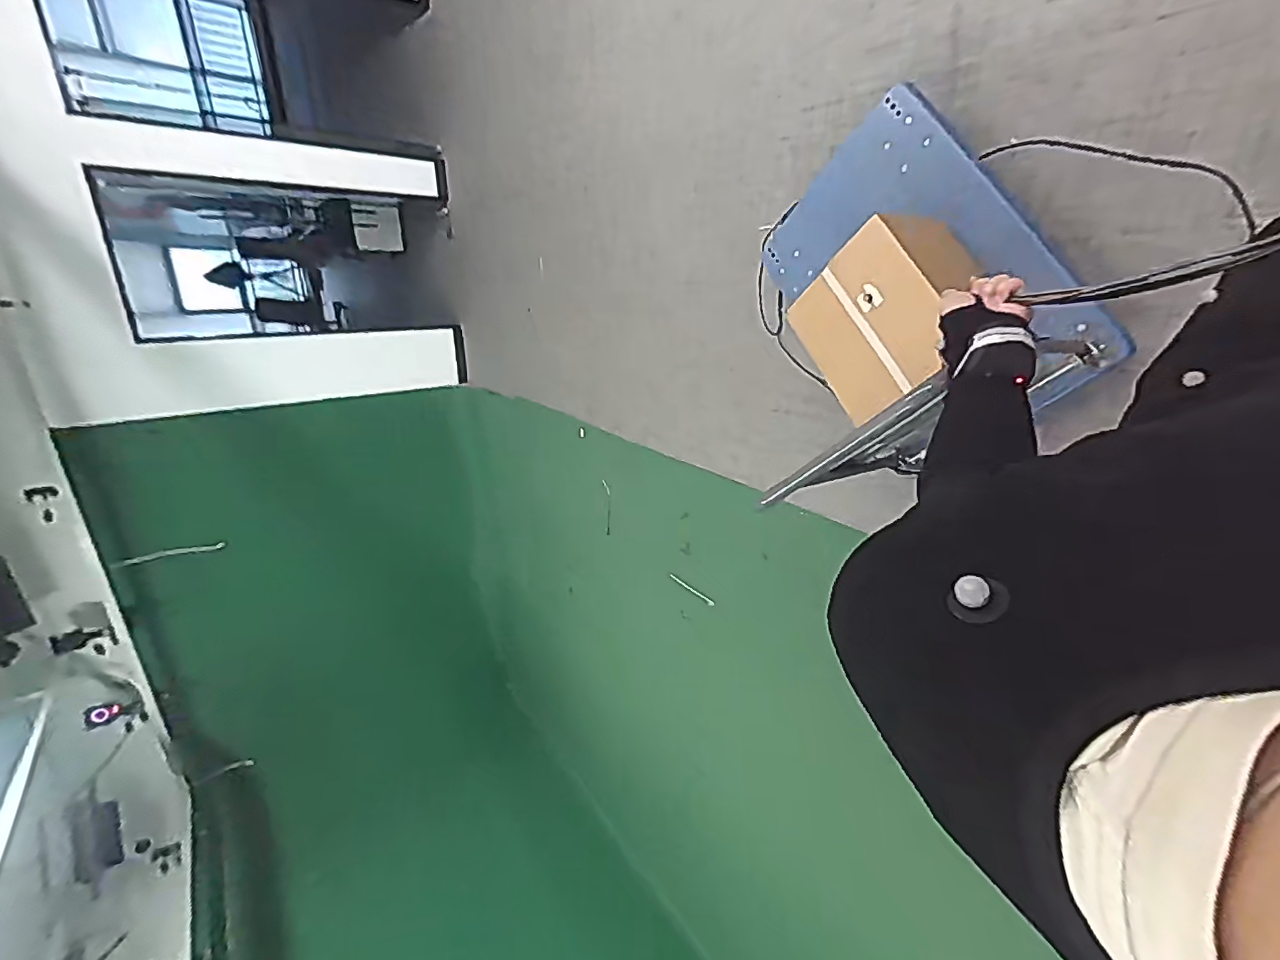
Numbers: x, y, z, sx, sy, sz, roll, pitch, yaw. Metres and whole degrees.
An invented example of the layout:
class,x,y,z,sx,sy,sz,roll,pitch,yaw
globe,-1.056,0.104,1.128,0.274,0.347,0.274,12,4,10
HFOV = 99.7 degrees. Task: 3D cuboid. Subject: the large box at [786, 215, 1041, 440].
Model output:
class,x,y,z,sx,sy,sz,roll,pitch,yaw
large box,0.641,-0.359,1.299,0.320,0.320,0.408,-46,63,50
